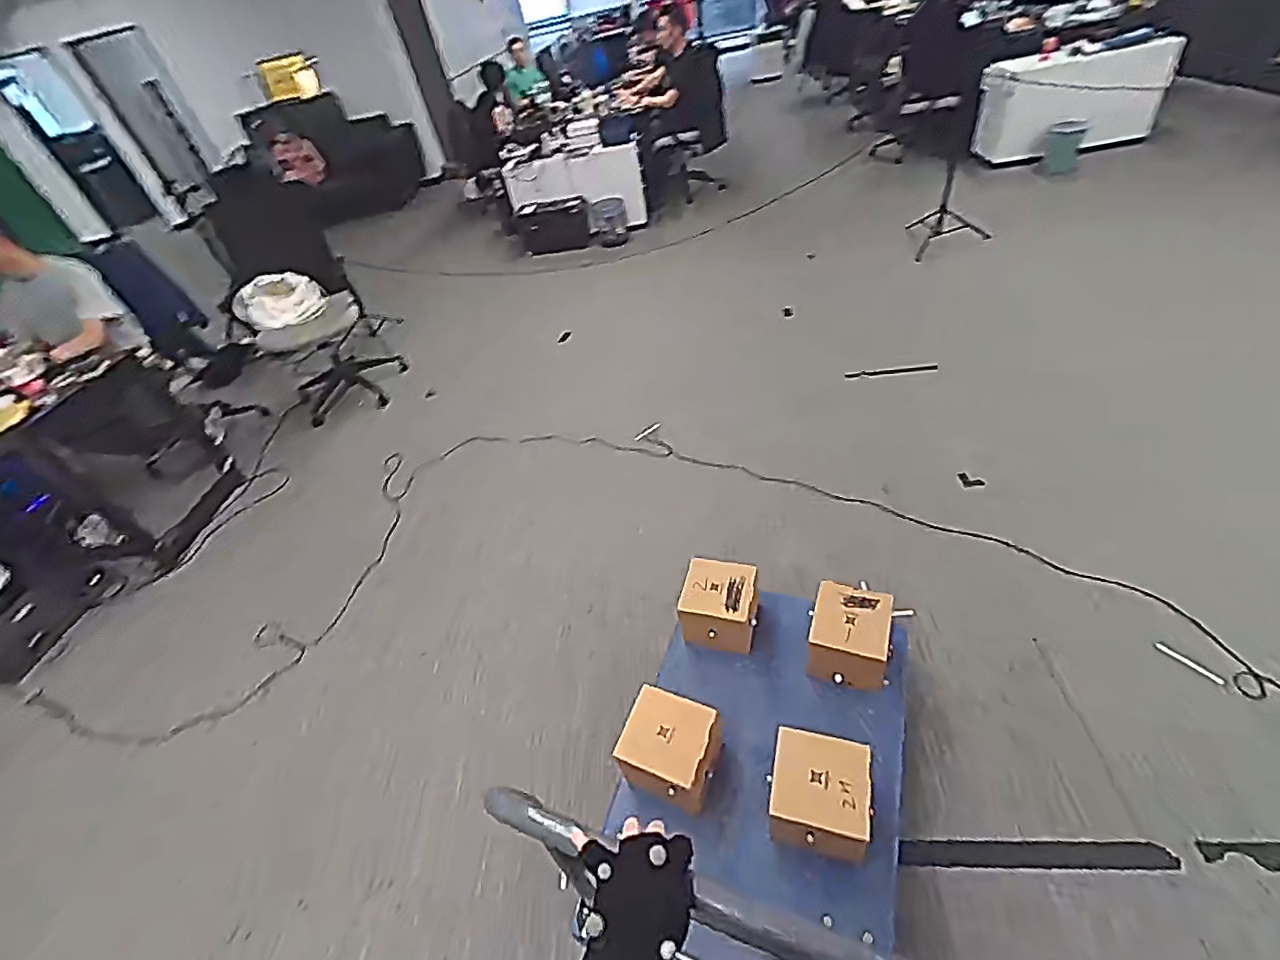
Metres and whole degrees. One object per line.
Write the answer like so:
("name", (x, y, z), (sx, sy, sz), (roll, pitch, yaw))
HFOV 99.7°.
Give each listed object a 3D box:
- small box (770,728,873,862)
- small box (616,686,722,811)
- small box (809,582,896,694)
("small box", (0.357, 0.622, 1.066), (0.179, 0.176, 0.168), (5, 46, 19))
("small box", (0.071, 0.587, 1.178), (0.179, 0.176, 0.168), (12, 47, 23))
("small box", (0.503, 0.377, 1.293), (0.168, 0.176, 0.179), (9, 48, 23))
